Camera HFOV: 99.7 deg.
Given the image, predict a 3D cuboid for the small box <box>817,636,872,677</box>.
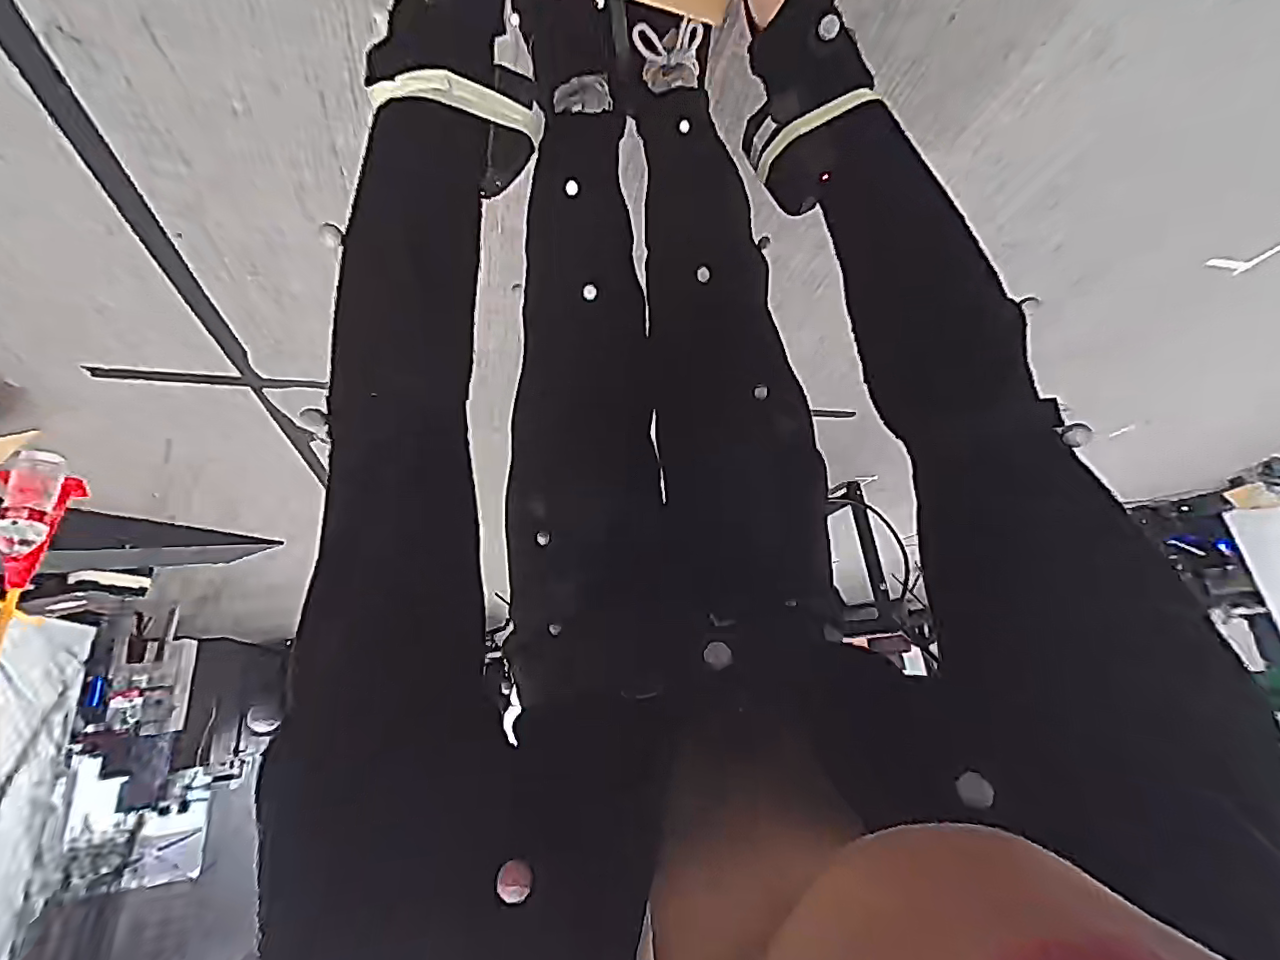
[{"bbox_3d":[0.969,0.840,2.580,0.168,0.176,0.179,-1,160,-14],"label":"small box"}]
